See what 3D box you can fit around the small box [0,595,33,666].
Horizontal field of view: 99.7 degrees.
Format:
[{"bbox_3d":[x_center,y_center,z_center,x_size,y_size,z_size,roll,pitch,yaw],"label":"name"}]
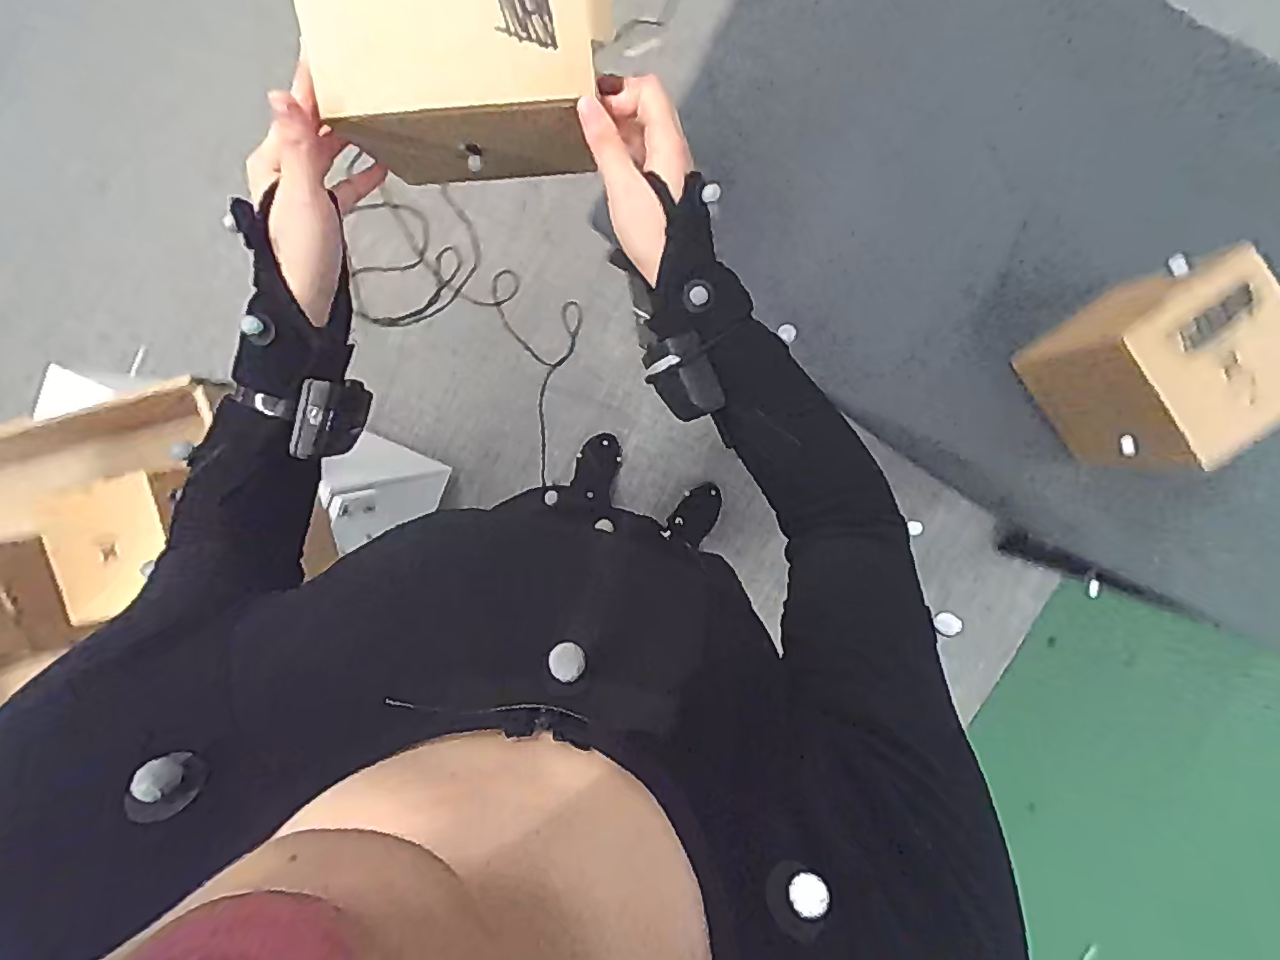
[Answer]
[{"bbox_3d":[-0.921,0.196,0.642,0.168,0.176,0.179,-40,96,5],"label":"small box"}]
